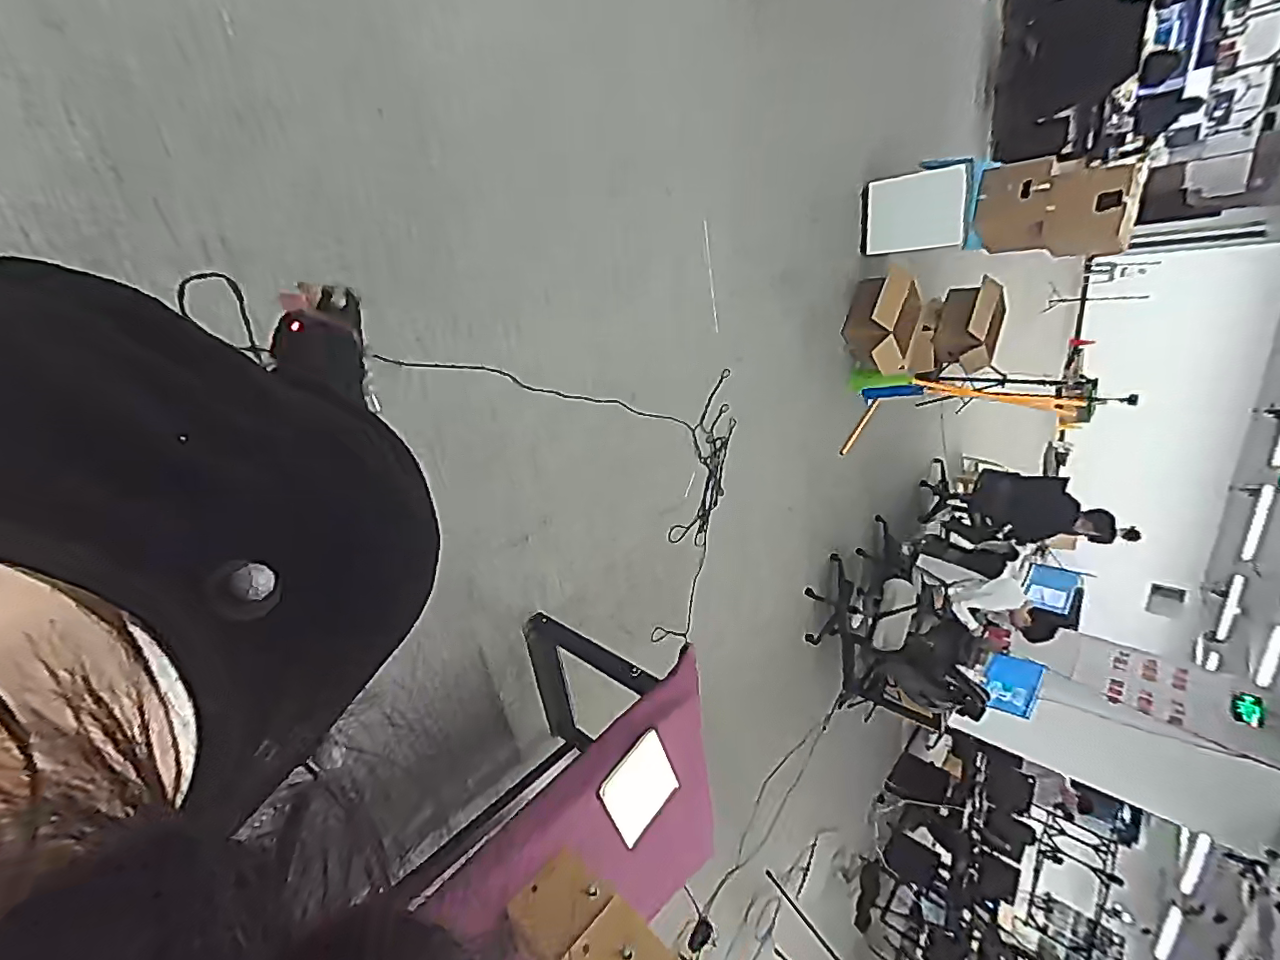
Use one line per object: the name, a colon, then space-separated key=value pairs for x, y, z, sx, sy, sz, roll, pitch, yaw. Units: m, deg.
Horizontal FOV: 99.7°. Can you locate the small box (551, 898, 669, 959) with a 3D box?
small box: x=-0.053 y=0.957 z=1.032 sx=0.168 sy=0.176 sz=0.179 roll=-27 pitch=120 yaw=-41
